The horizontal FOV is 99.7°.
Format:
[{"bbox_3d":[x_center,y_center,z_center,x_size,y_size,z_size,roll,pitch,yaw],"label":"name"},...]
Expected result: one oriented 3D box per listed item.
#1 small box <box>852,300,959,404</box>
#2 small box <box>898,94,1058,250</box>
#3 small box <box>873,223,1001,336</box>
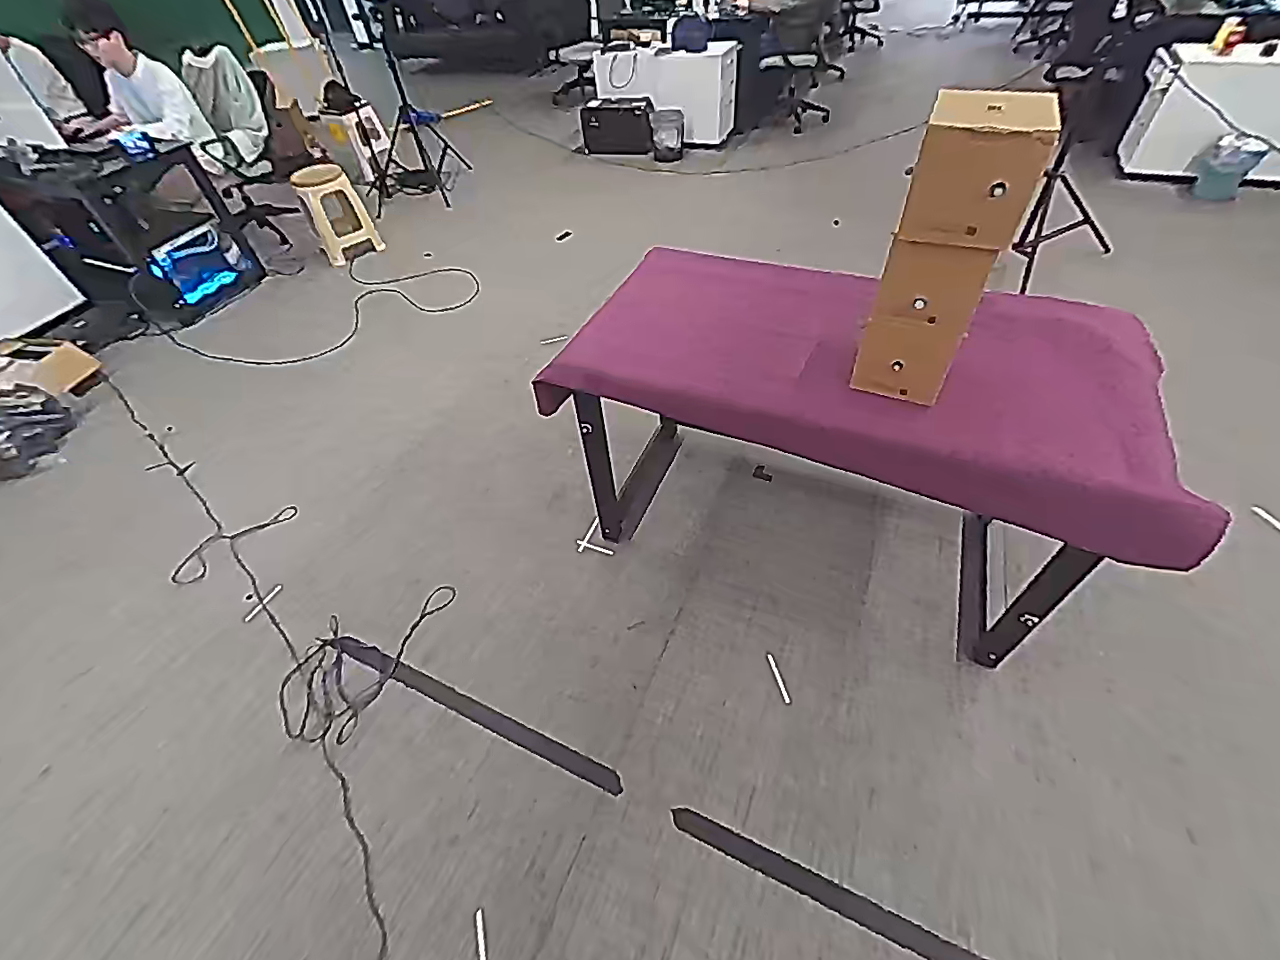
[{"bbox_3d":[0.548,-0.282,1.109,0.168,0.176,0.179,19,52,20],"label":"small box"},{"bbox_3d":[0.523,-0.485,0.853,0.168,0.176,0.179,16,51,18],"label":"small box"},{"bbox_3d":[0.542,-0.393,0.988,0.168,0.176,0.179,18,53,21],"label":"small box"}]
